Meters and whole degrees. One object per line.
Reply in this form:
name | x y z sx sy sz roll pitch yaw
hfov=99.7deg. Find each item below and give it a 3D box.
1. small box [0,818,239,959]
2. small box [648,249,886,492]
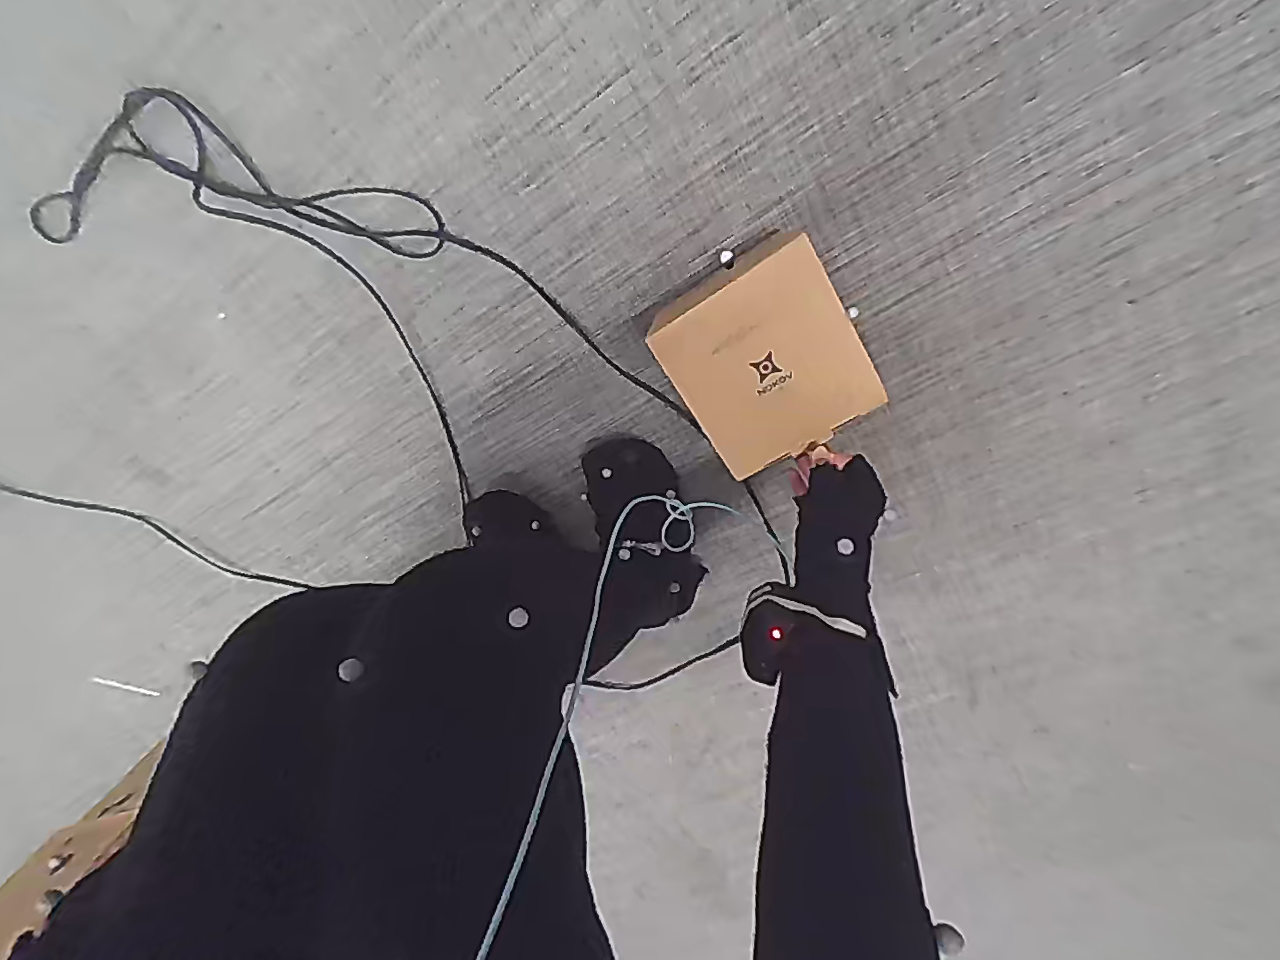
small box | -0.620 0.524 0.614 0.168 0.176 0.179 -20 111 16
small box | 0.128 -0.123 0.576 0.168 0.176 0.179 -29 109 18
